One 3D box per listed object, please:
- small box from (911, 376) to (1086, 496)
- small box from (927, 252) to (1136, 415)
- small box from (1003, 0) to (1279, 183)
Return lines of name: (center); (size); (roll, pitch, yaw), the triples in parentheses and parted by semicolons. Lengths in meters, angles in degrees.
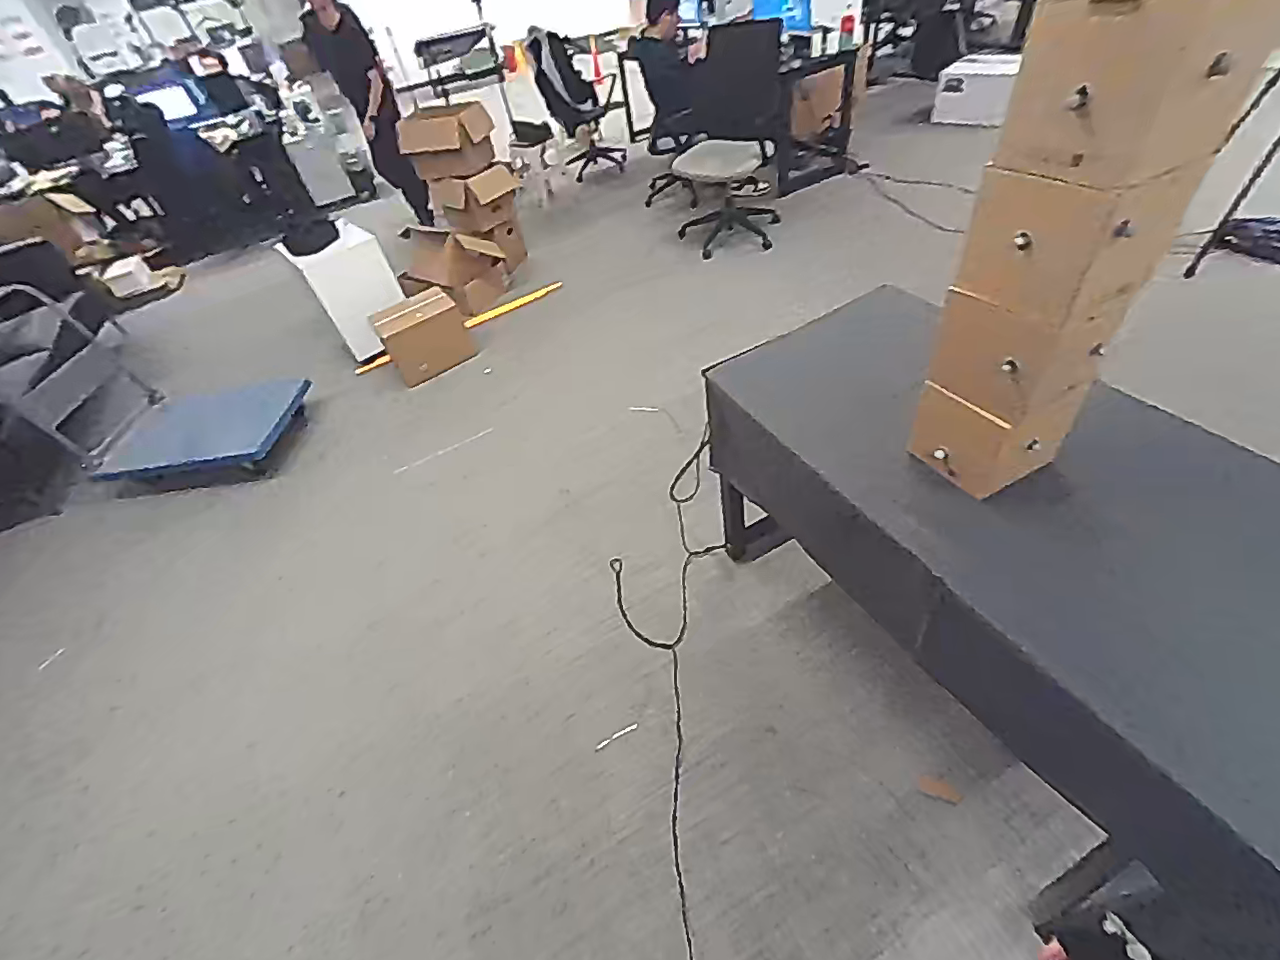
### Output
small box: (0.611, -0.105, 0.948); (0.179, 0.176, 0.168); (-25, 46, -11)
small box: (0.586, -0.222, 0.837); (0.168, 0.176, 0.179); (-26, 46, -14)
small box: (0.554, -0.460, 0.614); (0.179, 0.176, 0.168); (-26, 46, -13)
